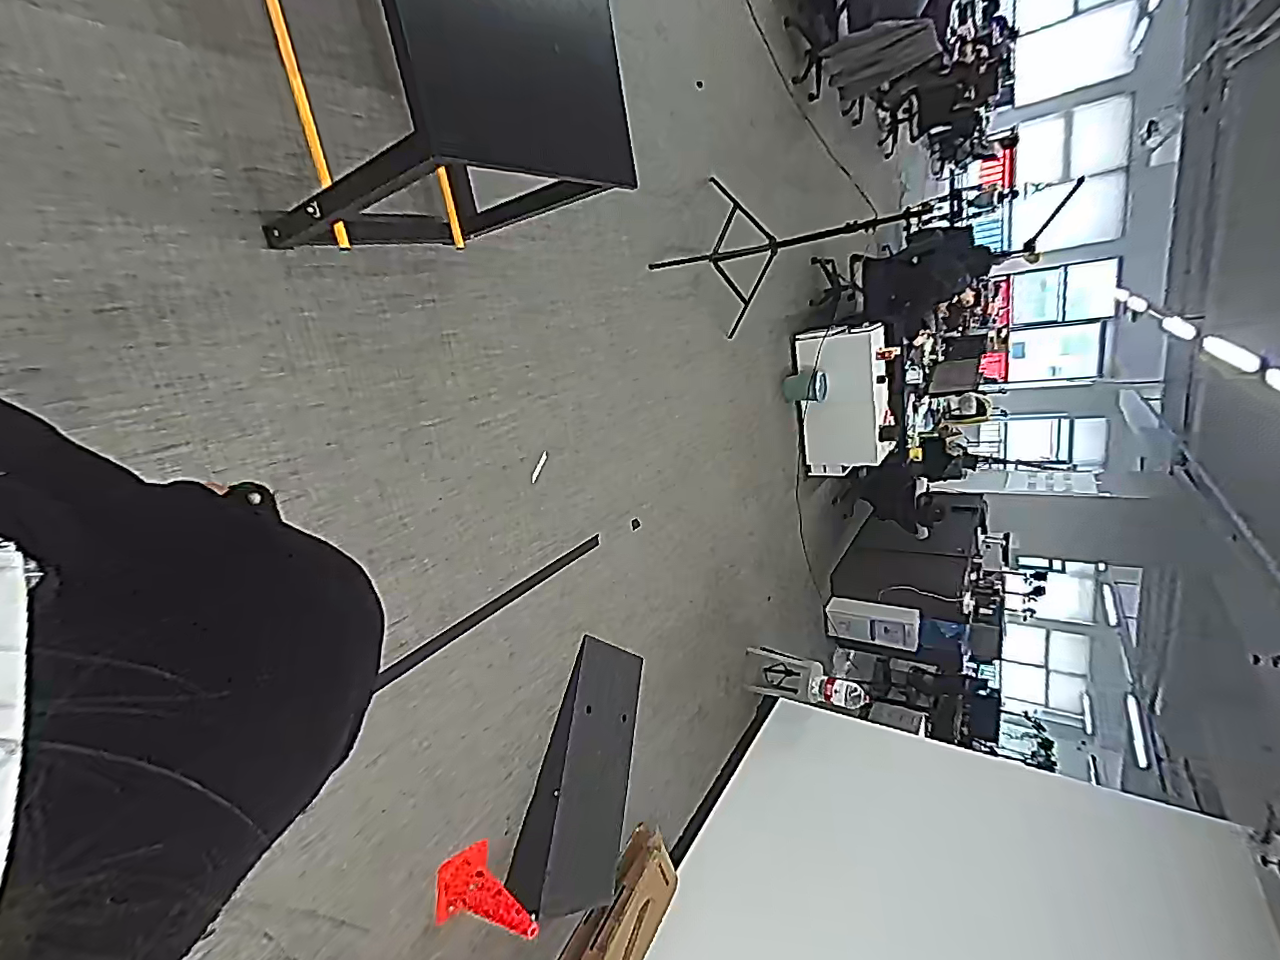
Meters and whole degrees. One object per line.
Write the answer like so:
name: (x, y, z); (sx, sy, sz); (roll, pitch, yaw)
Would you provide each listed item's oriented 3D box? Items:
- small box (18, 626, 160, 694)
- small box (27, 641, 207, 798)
small box: (-1.059, 0.411, 1.066); (0.179, 0.176, 0.168); (-31, 116, -48)
small box: (-0.931, 0.414, 0.966); (0.168, 0.176, 0.179); (-36, 118, -49)
